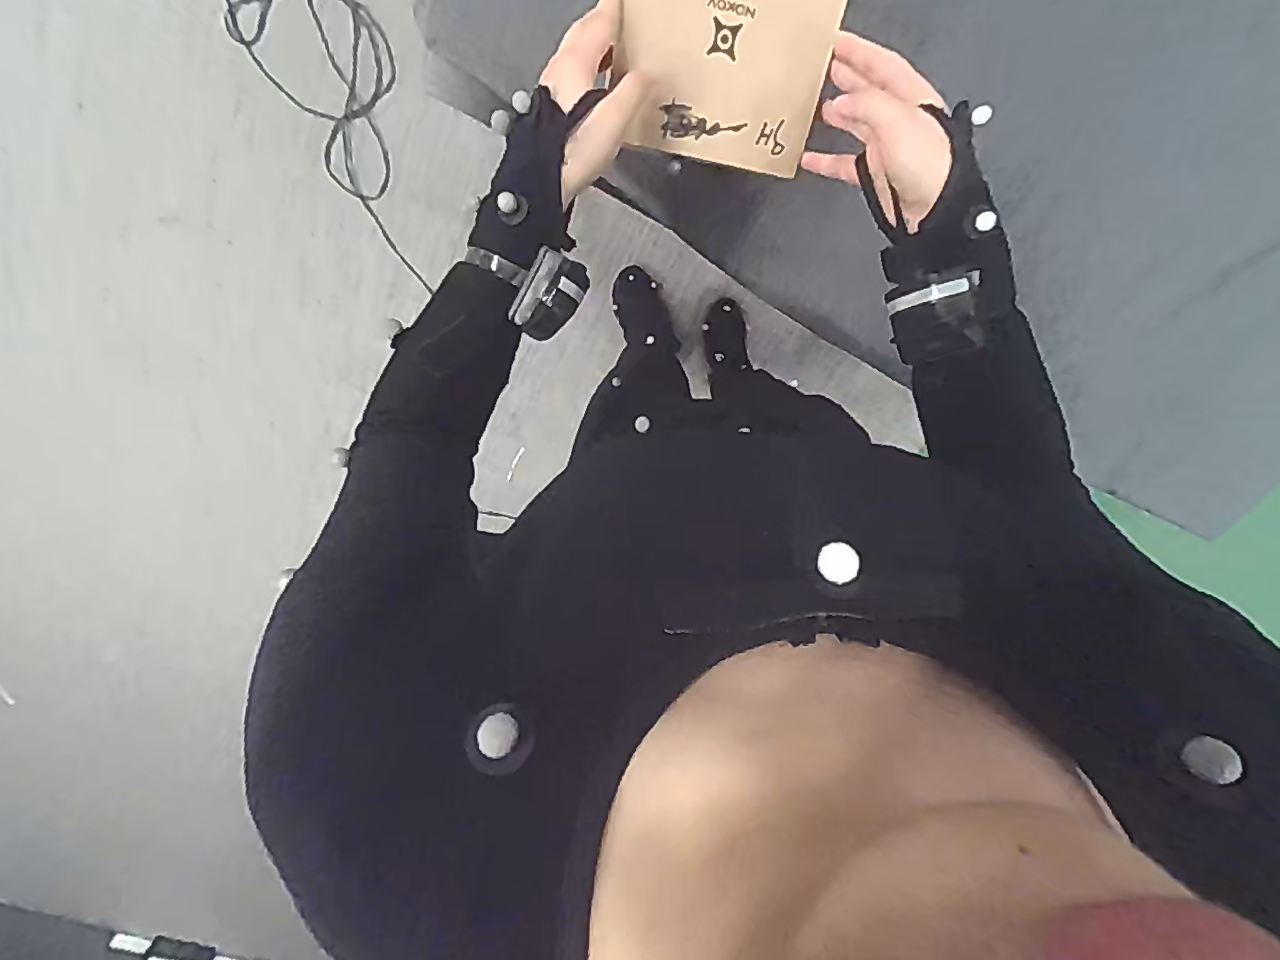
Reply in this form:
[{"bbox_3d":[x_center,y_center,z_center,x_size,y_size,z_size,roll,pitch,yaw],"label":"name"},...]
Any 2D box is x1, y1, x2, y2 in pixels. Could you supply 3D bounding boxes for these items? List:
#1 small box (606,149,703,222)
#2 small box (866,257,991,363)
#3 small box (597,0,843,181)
[{"bbox_3d":[0.045,-0.671,1.143,0.168,0.176,0.179,29,112,-12],"label":"small box"},{"bbox_3d":[0.658,-0.403,1.264,0.168,0.176,0.179,20,114,-10],"label":"small box"},{"bbox_3d":[0.056,-0.374,0.465,0.168,0.176,0.179,8,119,-9],"label":"small box"}]
